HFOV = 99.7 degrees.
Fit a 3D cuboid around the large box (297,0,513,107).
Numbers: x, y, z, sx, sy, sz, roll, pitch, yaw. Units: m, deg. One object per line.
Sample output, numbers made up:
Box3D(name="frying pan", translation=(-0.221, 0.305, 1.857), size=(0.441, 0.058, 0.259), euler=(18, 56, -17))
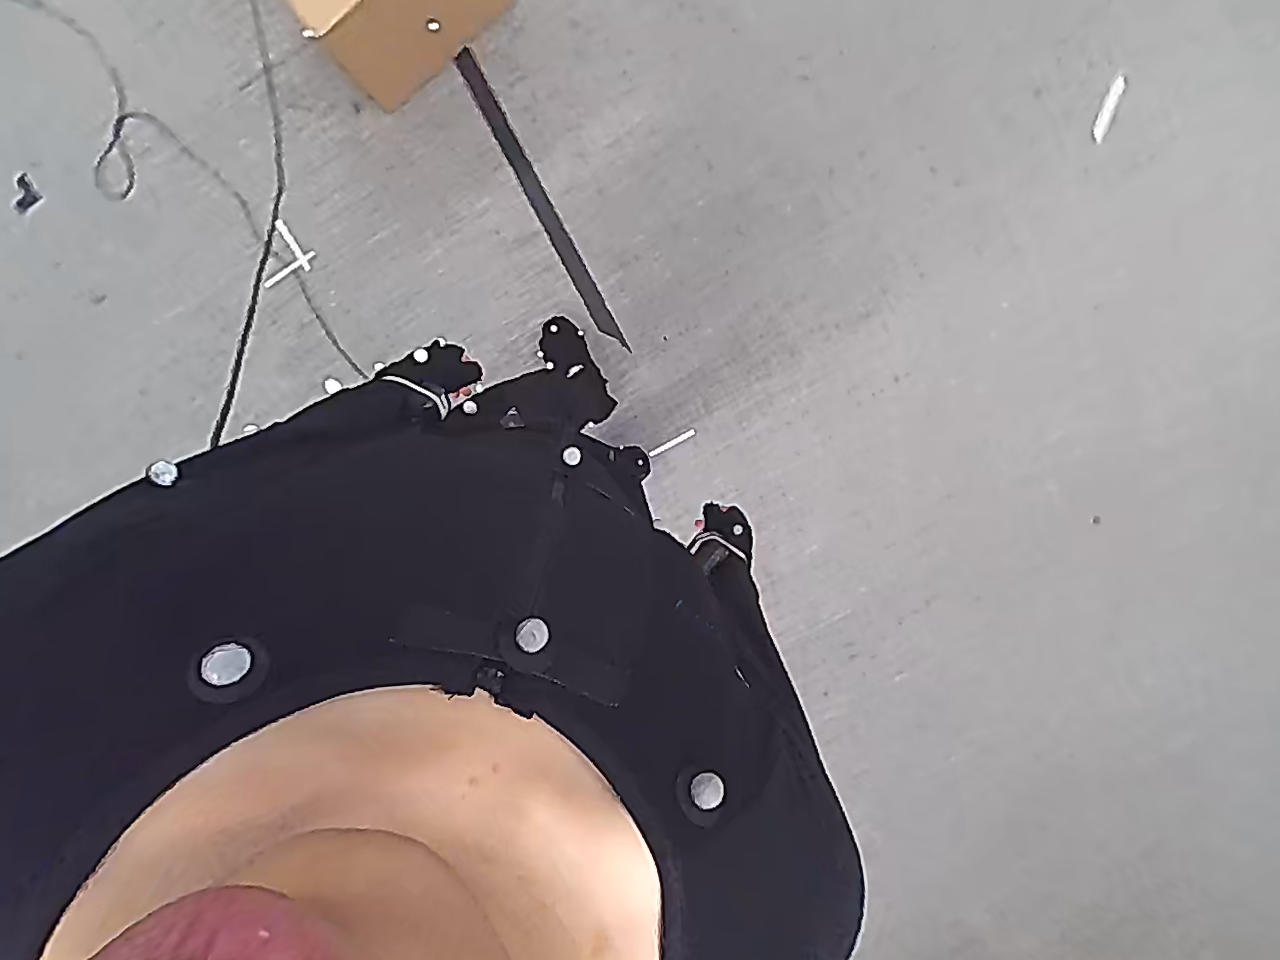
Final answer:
Box3D(name="large box", translation=(-0.529, -1.108, 1.127), size=(0.408, 0.320, 0.320), euler=(-36, 99, 7))
